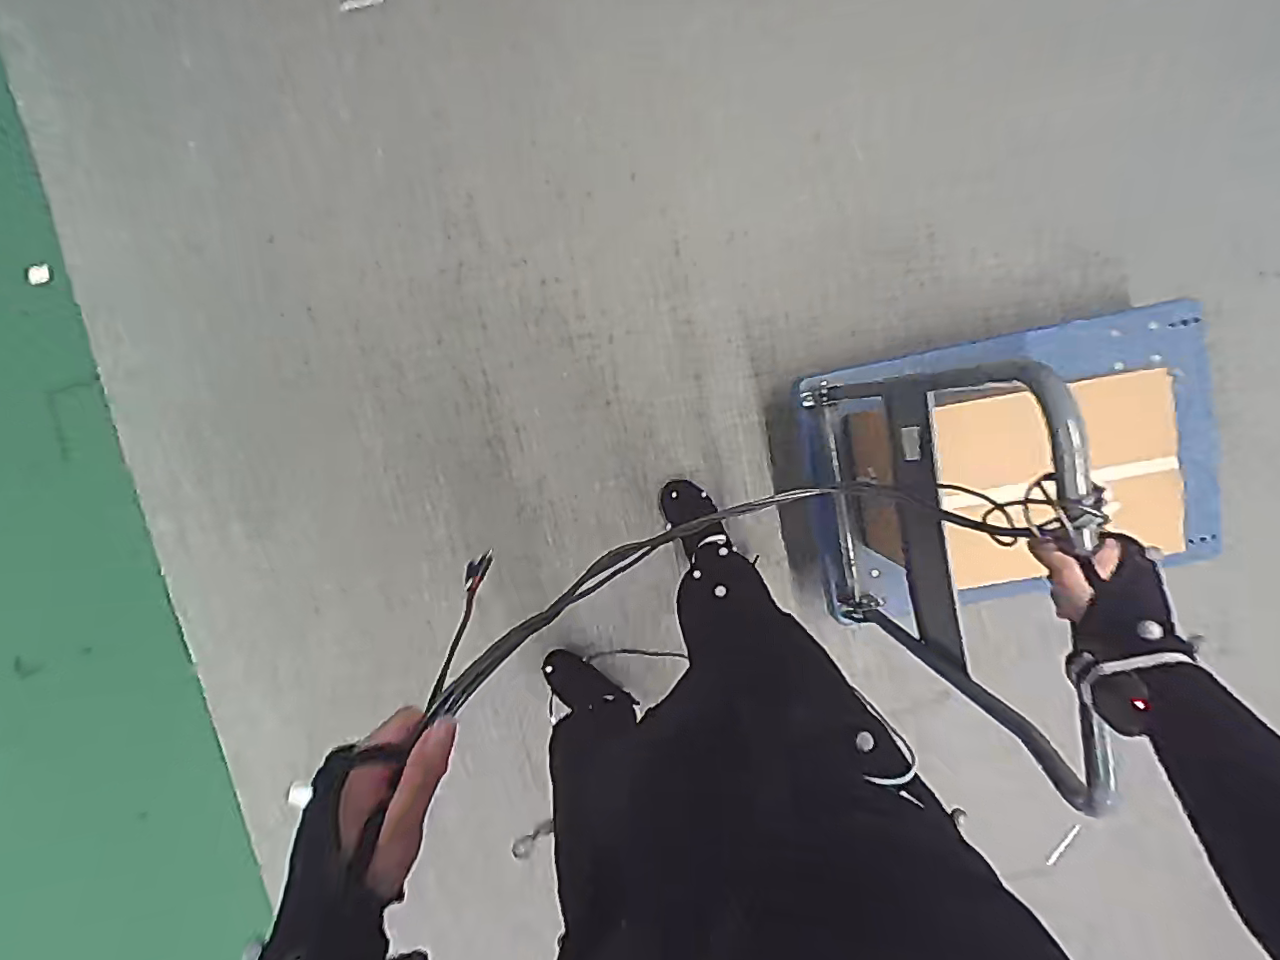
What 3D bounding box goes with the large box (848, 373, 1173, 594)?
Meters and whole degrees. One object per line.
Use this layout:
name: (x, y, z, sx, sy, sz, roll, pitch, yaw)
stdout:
large box: (0.675, -0.004, 1.046, 0.408, 0.320, 0.320, -10, 97, 1)
